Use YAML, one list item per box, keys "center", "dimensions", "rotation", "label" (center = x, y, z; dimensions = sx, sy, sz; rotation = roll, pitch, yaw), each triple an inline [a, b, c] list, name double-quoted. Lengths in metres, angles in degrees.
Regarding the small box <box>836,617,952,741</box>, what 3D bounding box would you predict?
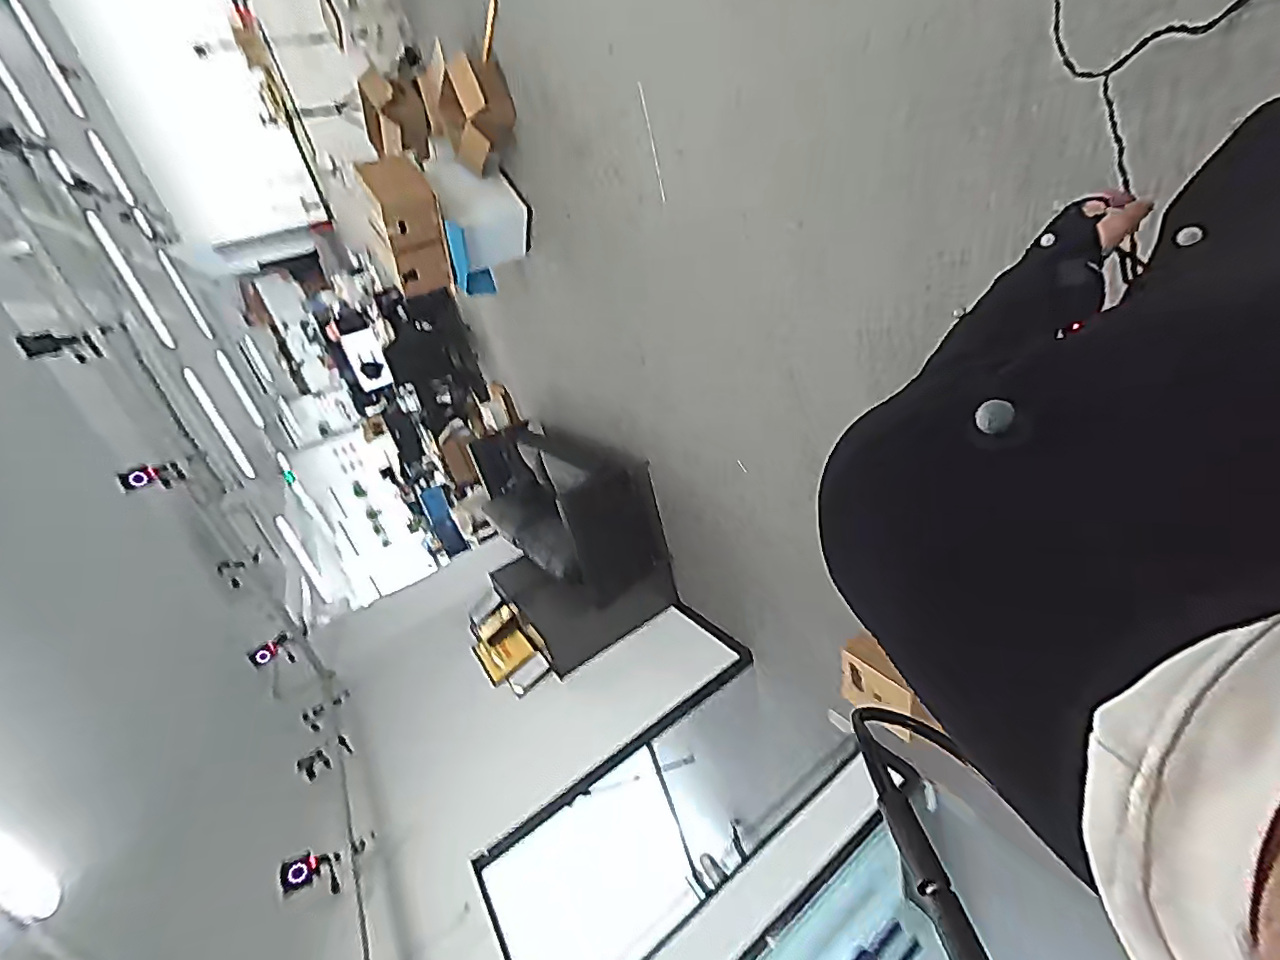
- center: [0.576, 0.442, 1.237]
  dimensions: [0.179, 0.176, 0.168]
  rotation: [28, 137, 49]
  label: "small box"
